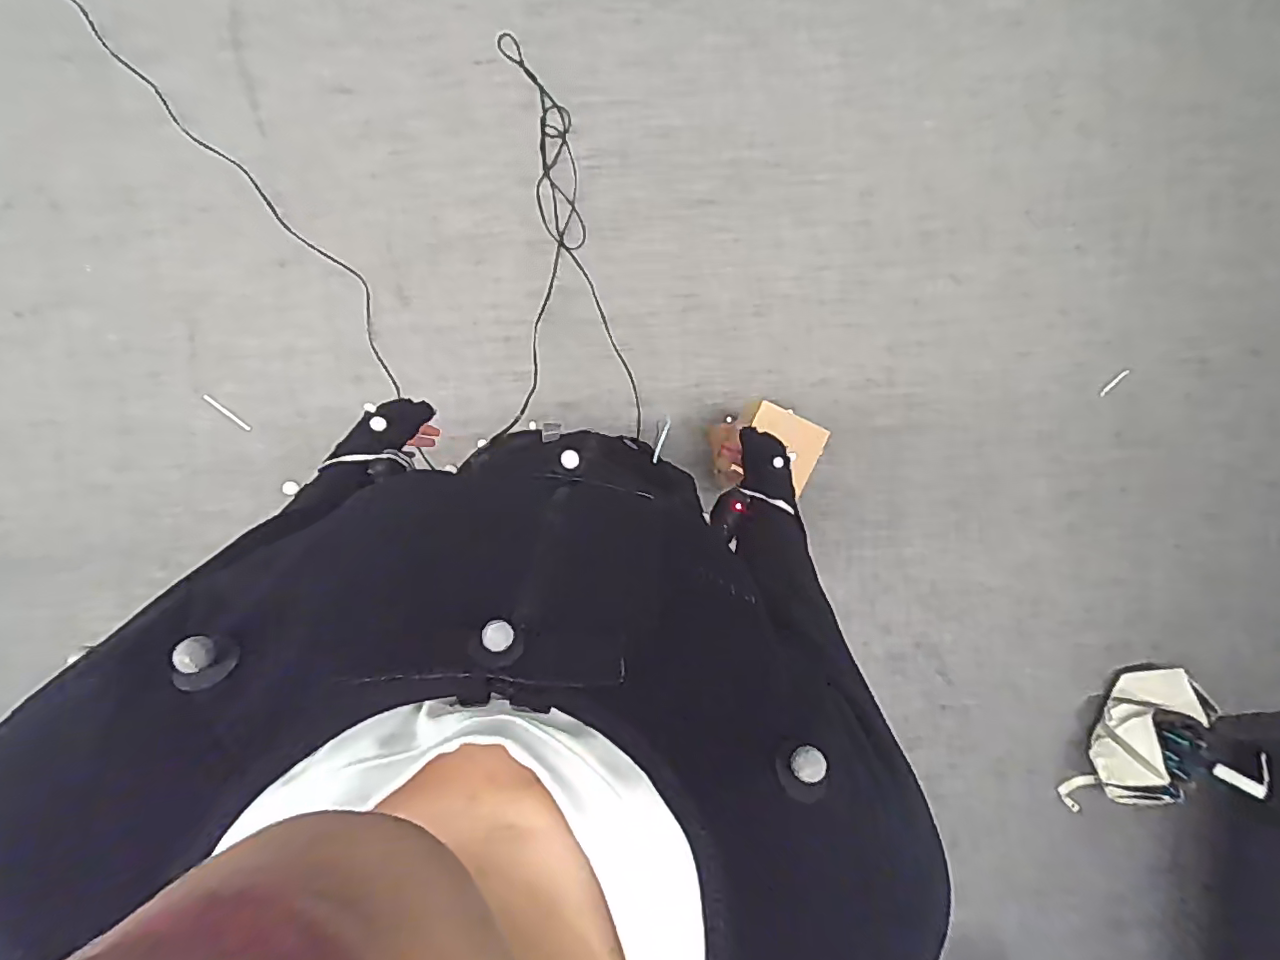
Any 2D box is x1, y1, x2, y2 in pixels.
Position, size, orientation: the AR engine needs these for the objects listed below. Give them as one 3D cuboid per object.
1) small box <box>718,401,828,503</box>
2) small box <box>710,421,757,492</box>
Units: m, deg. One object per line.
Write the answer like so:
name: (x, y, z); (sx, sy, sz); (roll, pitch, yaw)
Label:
small box: (0.293, -0.069, 1.244); (0.168, 0.176, 0.179); (25, 96, -4)
small box: (0.281, -0.070, 1.392); (0.179, 0.176, 0.168); (-10, 97, -2)
